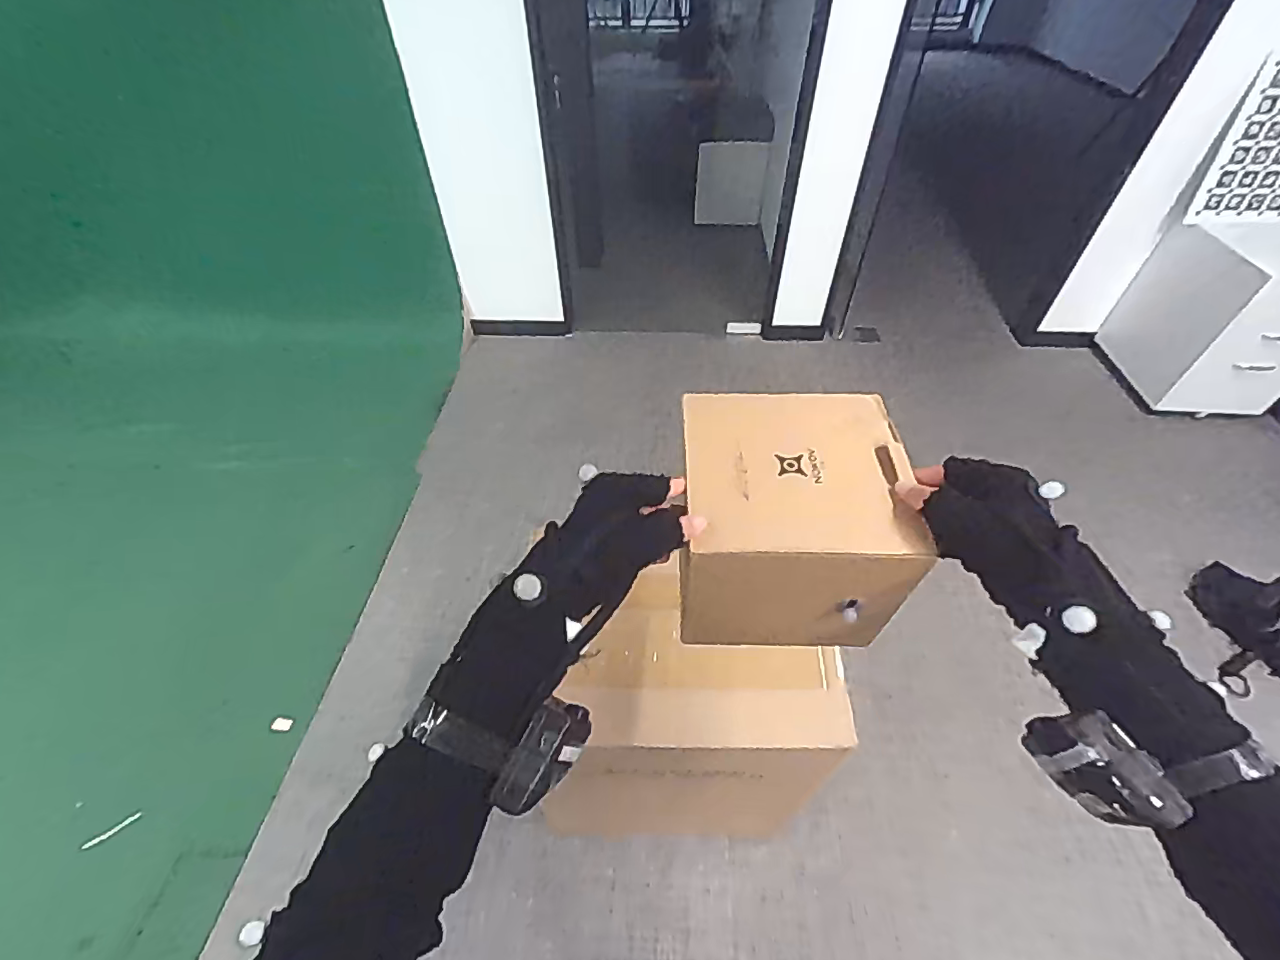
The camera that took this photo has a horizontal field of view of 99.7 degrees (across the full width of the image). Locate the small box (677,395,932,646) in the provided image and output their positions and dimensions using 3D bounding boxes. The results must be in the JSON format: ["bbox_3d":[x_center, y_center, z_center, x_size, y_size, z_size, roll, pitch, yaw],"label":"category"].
[{"bbox_3d":[0.125,0.041,0.493,0.179,0.176,0.168,-2,50,3],"label":"small box"}]
